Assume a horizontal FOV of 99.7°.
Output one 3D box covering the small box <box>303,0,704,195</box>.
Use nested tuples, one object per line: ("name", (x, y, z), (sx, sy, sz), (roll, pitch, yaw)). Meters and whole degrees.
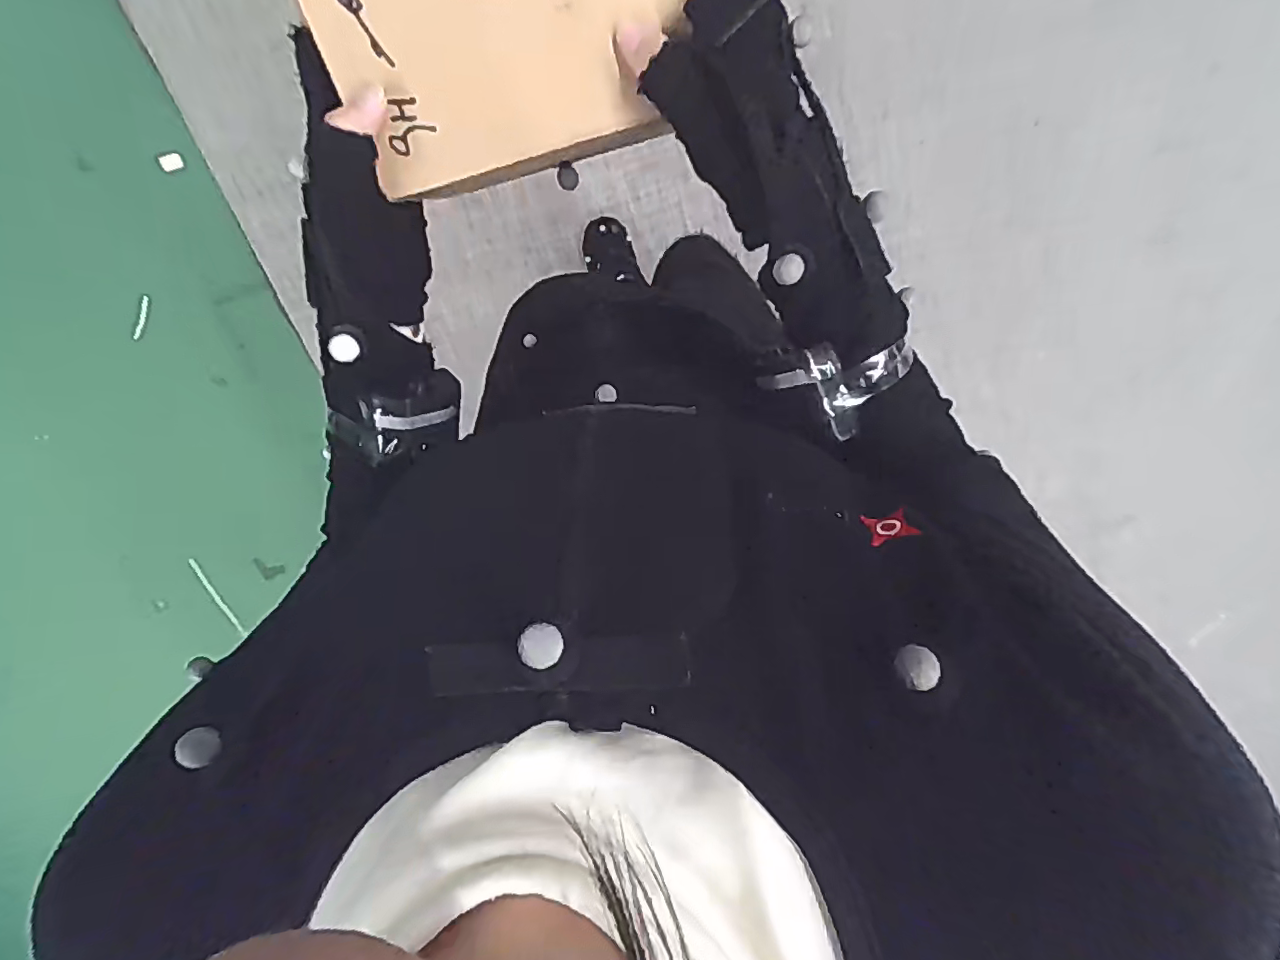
("small box", (-0.074, -0.275, 0.308), (0.179, 0.176, 0.168), (-14, 118, 3))
